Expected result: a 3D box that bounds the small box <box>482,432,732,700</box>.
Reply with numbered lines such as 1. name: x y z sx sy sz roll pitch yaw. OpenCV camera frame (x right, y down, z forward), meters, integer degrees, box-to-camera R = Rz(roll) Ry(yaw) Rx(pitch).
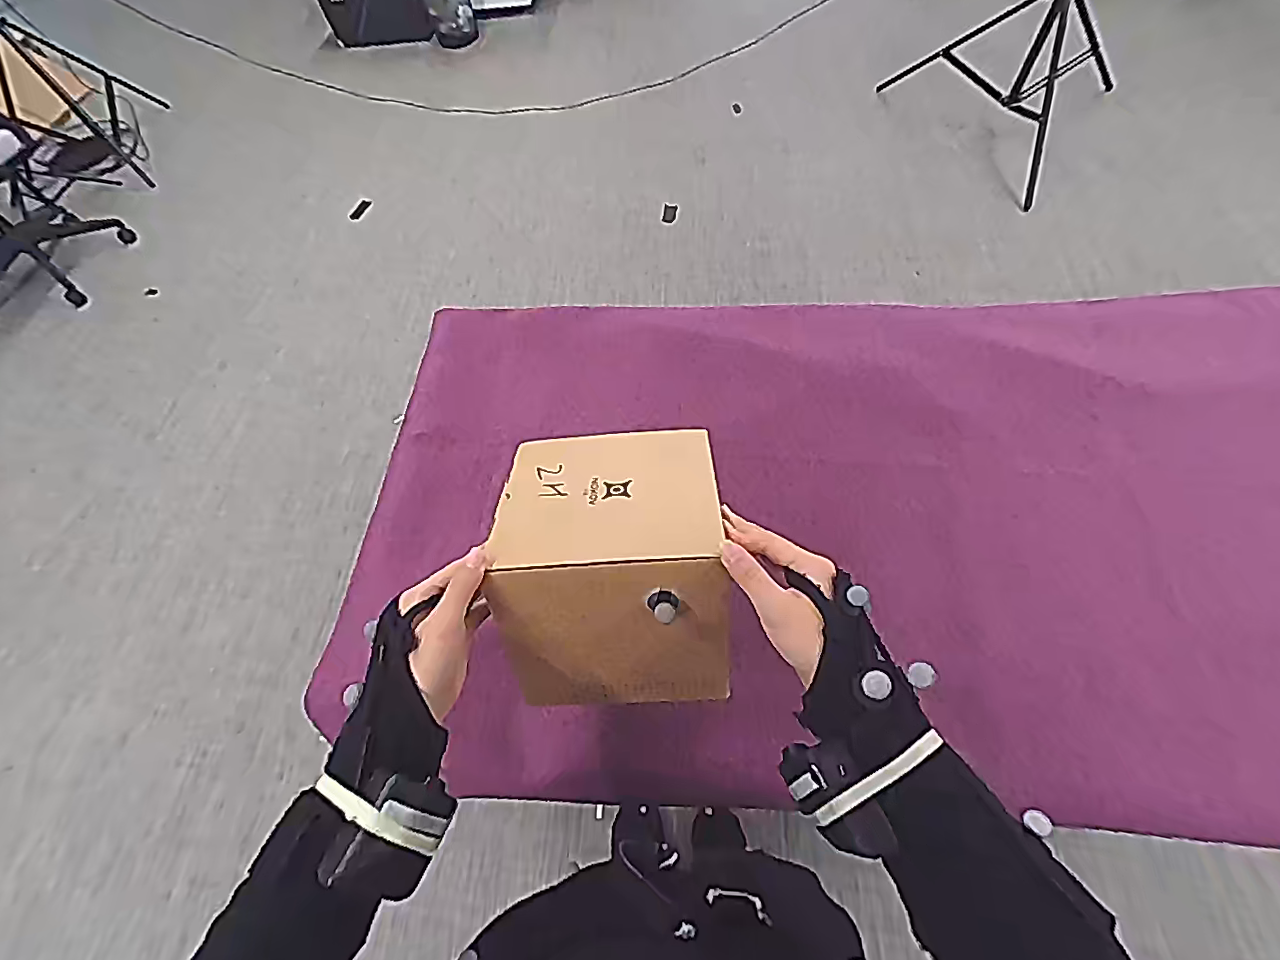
1. small box: -0.016 0.076 0.481 0.179 0.176 0.168 -4 36 4
